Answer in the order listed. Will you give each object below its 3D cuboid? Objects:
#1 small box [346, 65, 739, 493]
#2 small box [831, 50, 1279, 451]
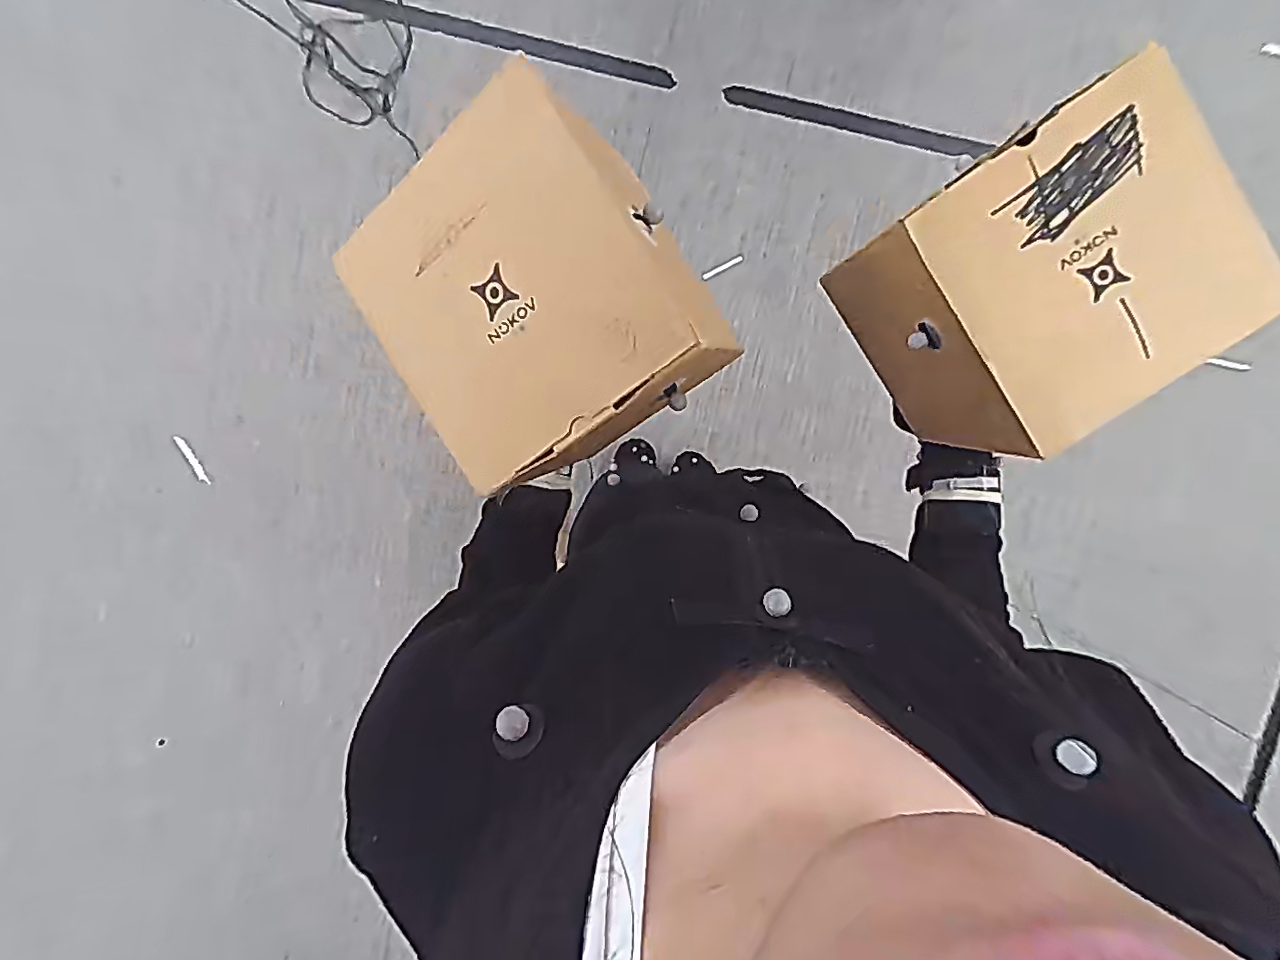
[{"bbox_3d":[-0.048,-0.118,0.378,0.168,0.176,0.179,-33,90,21],"label":"small box"},{"bbox_3d":[0.272,-0.141,0.400,0.168,0.176,0.179,-34,97,7],"label":"small box"}]
